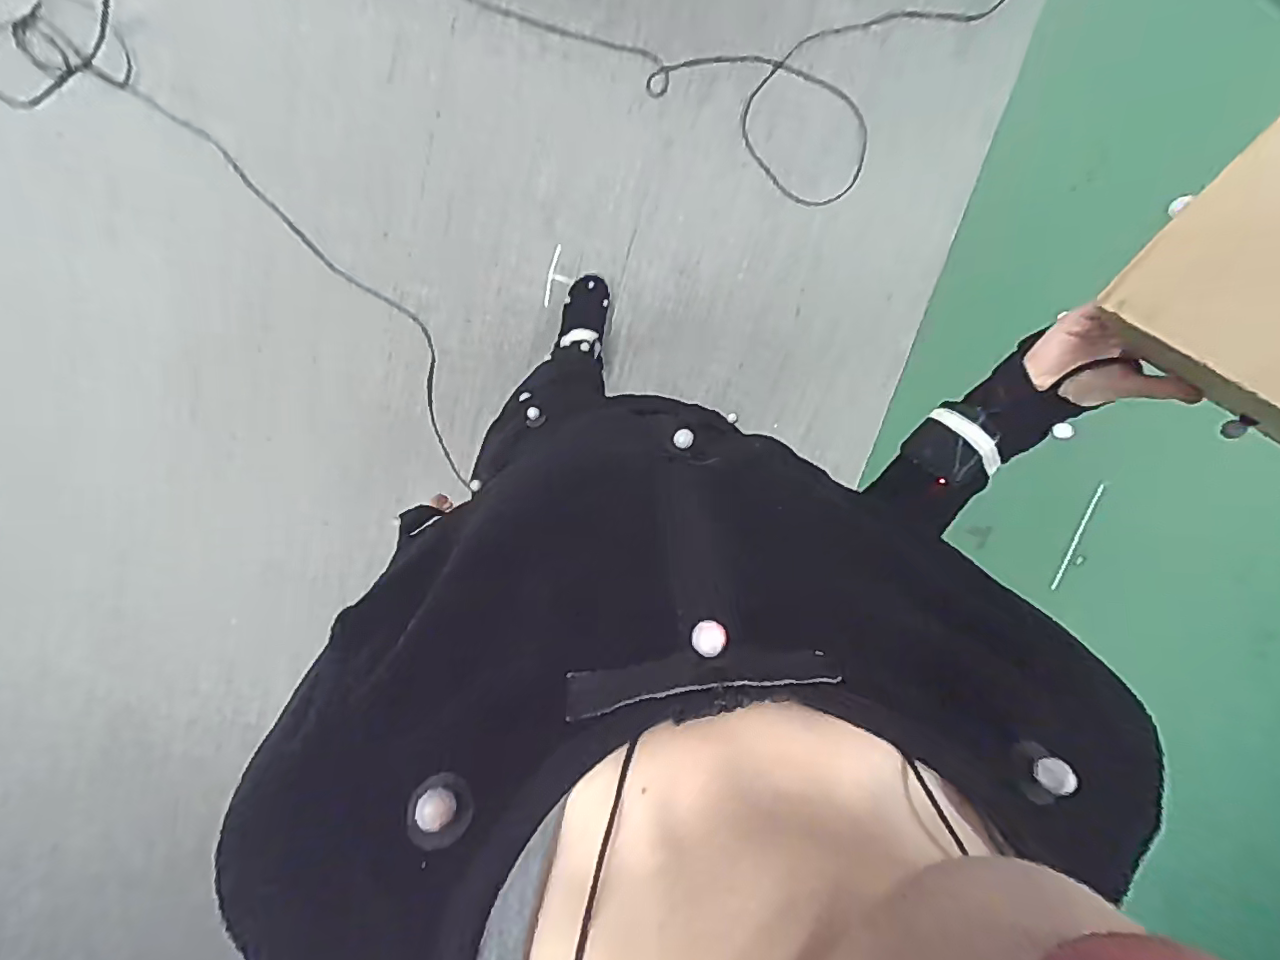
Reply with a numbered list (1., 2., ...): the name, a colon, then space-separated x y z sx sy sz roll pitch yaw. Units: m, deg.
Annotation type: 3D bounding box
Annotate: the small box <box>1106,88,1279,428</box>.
1. small box: 0.394 -0.107 0.277 0.176 0.179 0.168 1 133 -43
